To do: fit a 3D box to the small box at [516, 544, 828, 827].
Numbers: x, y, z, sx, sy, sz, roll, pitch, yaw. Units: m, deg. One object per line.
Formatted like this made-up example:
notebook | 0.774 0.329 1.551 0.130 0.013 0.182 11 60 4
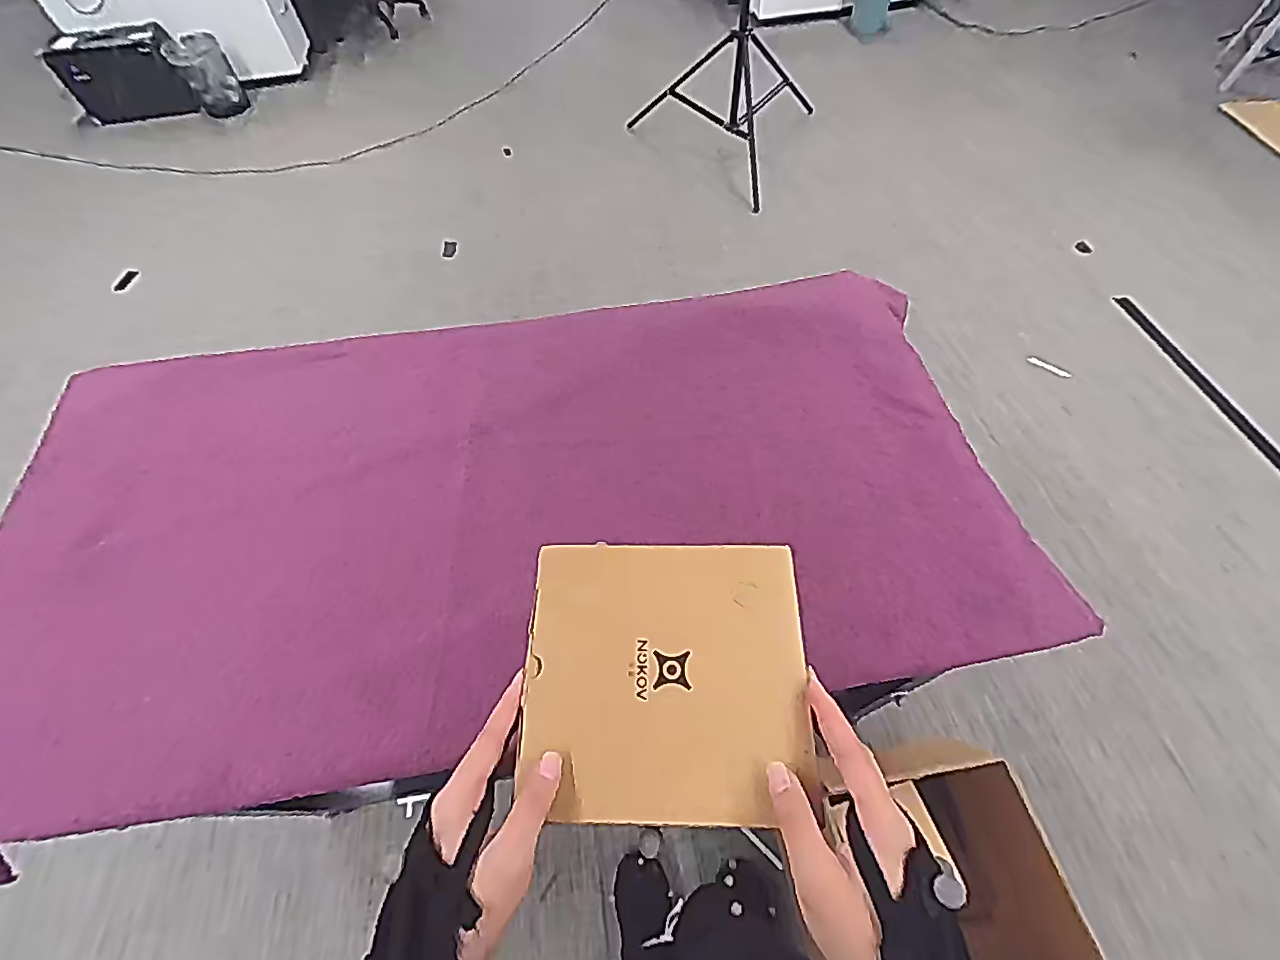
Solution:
small box | 0.022 0.155 0.406 0.179 0.176 0.168 -1 60 3
